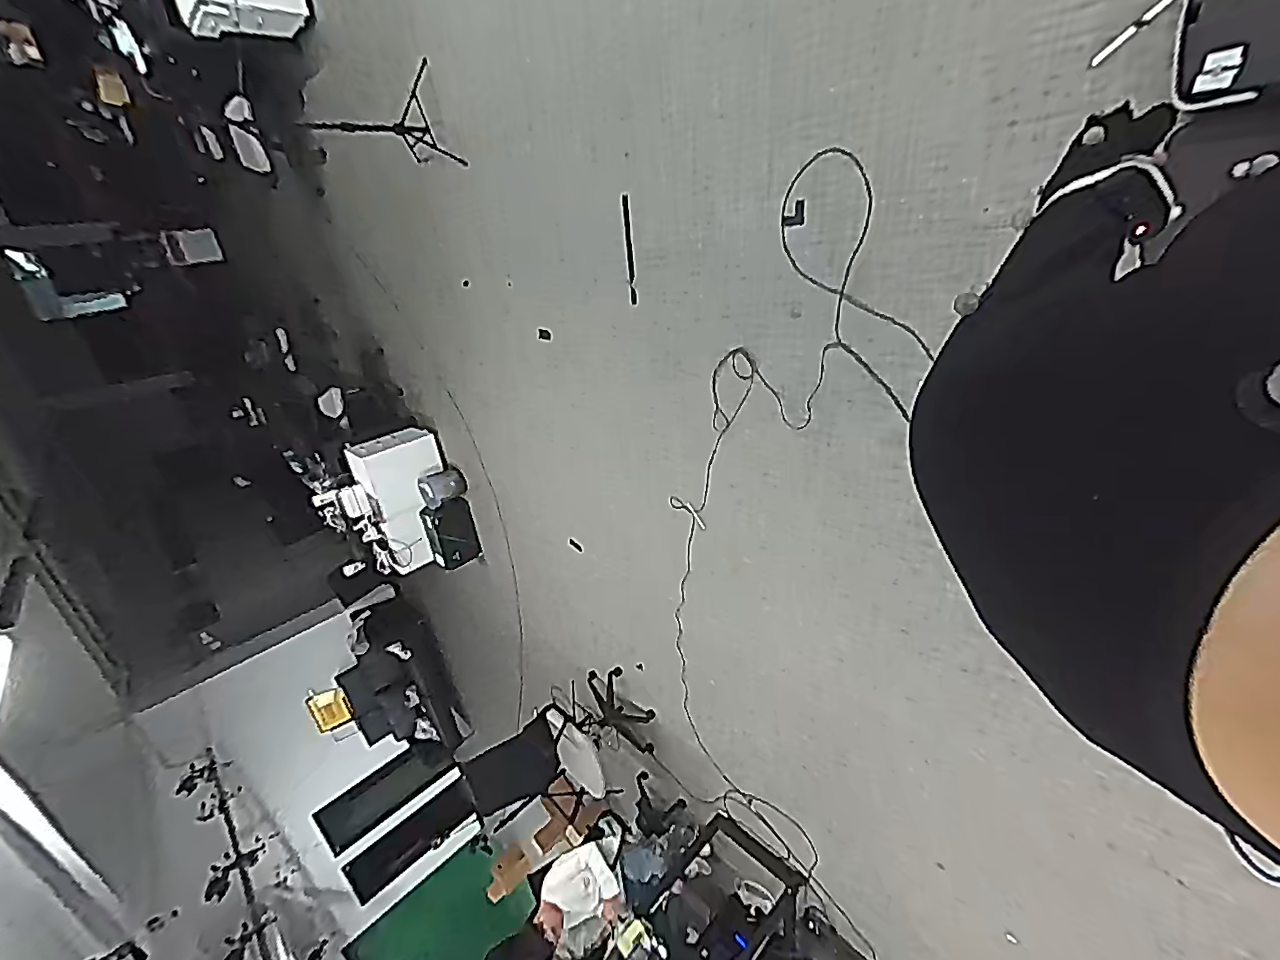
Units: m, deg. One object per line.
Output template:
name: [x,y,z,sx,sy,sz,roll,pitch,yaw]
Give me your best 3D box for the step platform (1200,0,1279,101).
step platform: [1.172,-0.711,0.651,0.684,0.204,0.286,15,123,43]
